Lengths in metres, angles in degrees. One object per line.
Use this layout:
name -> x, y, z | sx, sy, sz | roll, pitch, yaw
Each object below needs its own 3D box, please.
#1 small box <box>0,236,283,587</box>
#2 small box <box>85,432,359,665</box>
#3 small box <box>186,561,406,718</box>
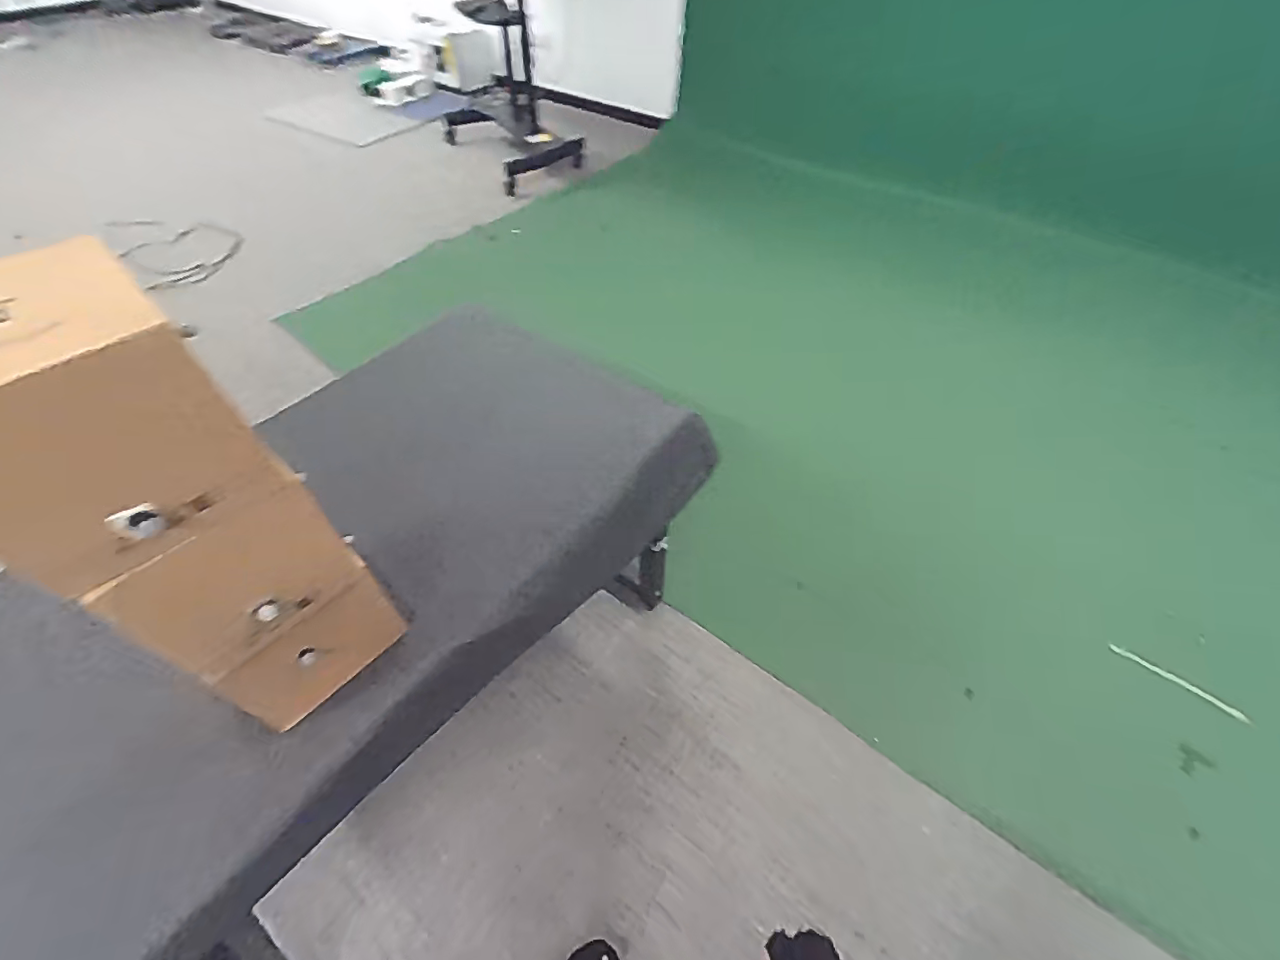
small box -> -0.425, -0.052, 0.414 | 0.179, 0.176, 0.168 | 37, 60, 25
small box -> -0.425, 0.051, 0.539 | 0.179, 0.176, 0.168 | 30, 56, 25
small box -> -0.428, 0.157, 0.665 | 0.168, 0.176, 0.179 | 33, 58, 25
